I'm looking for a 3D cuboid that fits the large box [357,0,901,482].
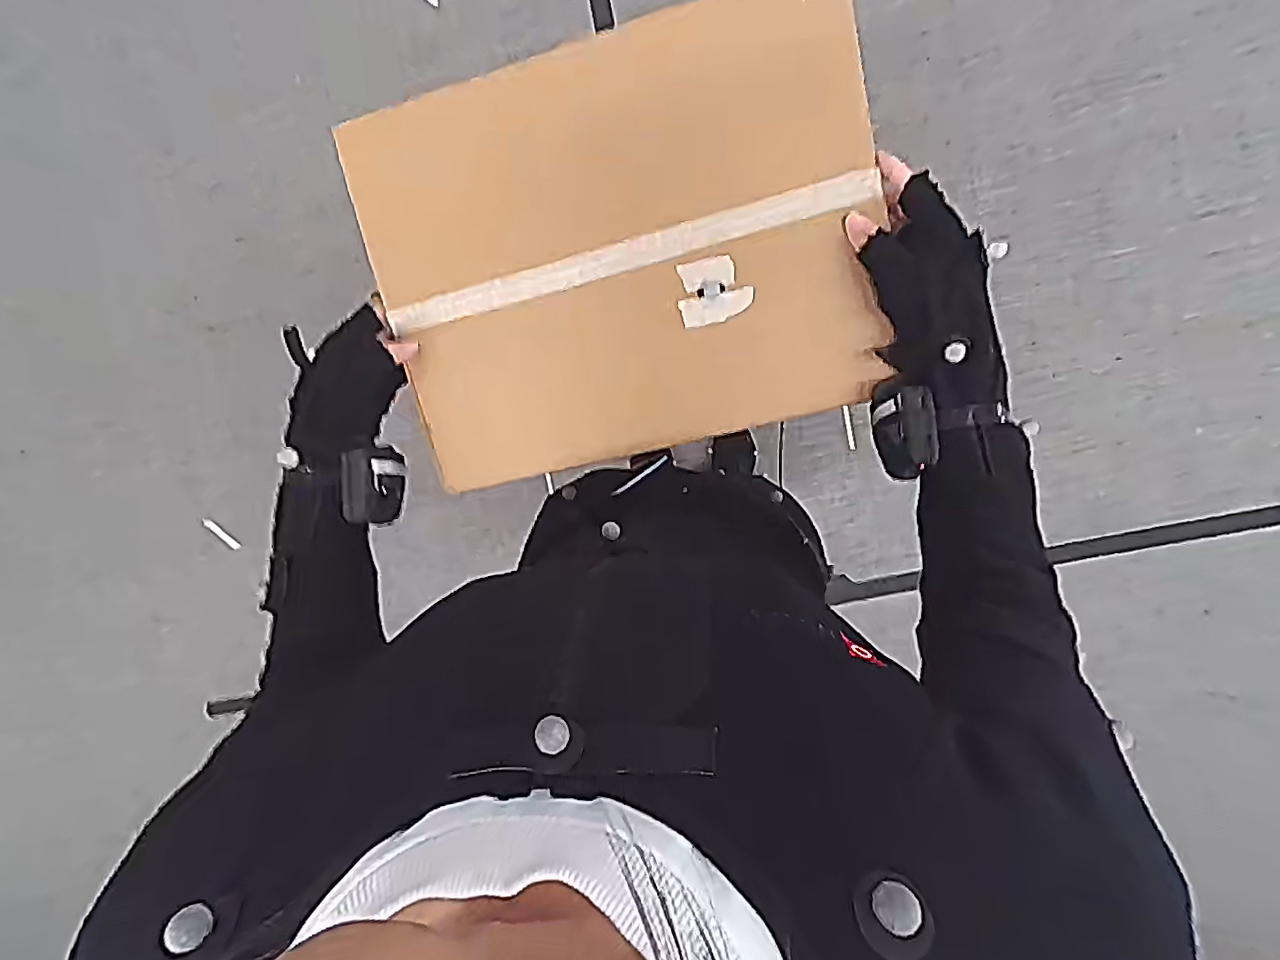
[{"bbox_3d":[0.002,-0.215,0.593,0.408,0.320,0.320,-13,100,9],"label":"large box"}]
